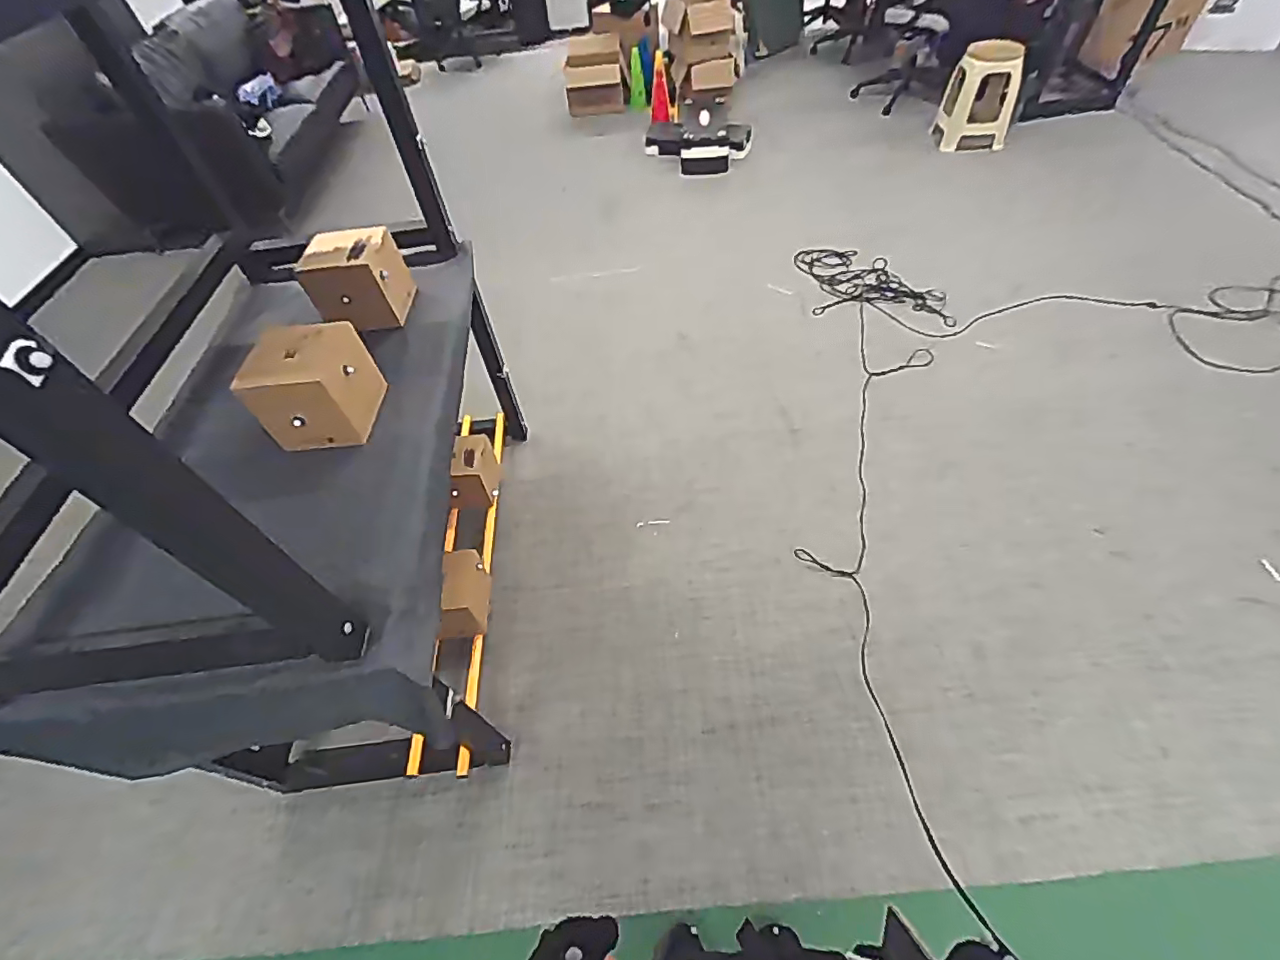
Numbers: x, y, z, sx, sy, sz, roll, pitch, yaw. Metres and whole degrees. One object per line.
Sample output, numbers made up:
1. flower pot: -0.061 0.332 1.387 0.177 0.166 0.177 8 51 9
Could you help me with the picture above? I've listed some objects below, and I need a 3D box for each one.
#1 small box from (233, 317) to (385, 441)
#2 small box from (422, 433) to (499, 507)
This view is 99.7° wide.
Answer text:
1. small box: -0.624 -0.188 1.049 0.168 0.176 0.179 -4 52 2
2. small box: -0.559 -0.029 1.715 0.179 0.176 0.168 -4 51 2
